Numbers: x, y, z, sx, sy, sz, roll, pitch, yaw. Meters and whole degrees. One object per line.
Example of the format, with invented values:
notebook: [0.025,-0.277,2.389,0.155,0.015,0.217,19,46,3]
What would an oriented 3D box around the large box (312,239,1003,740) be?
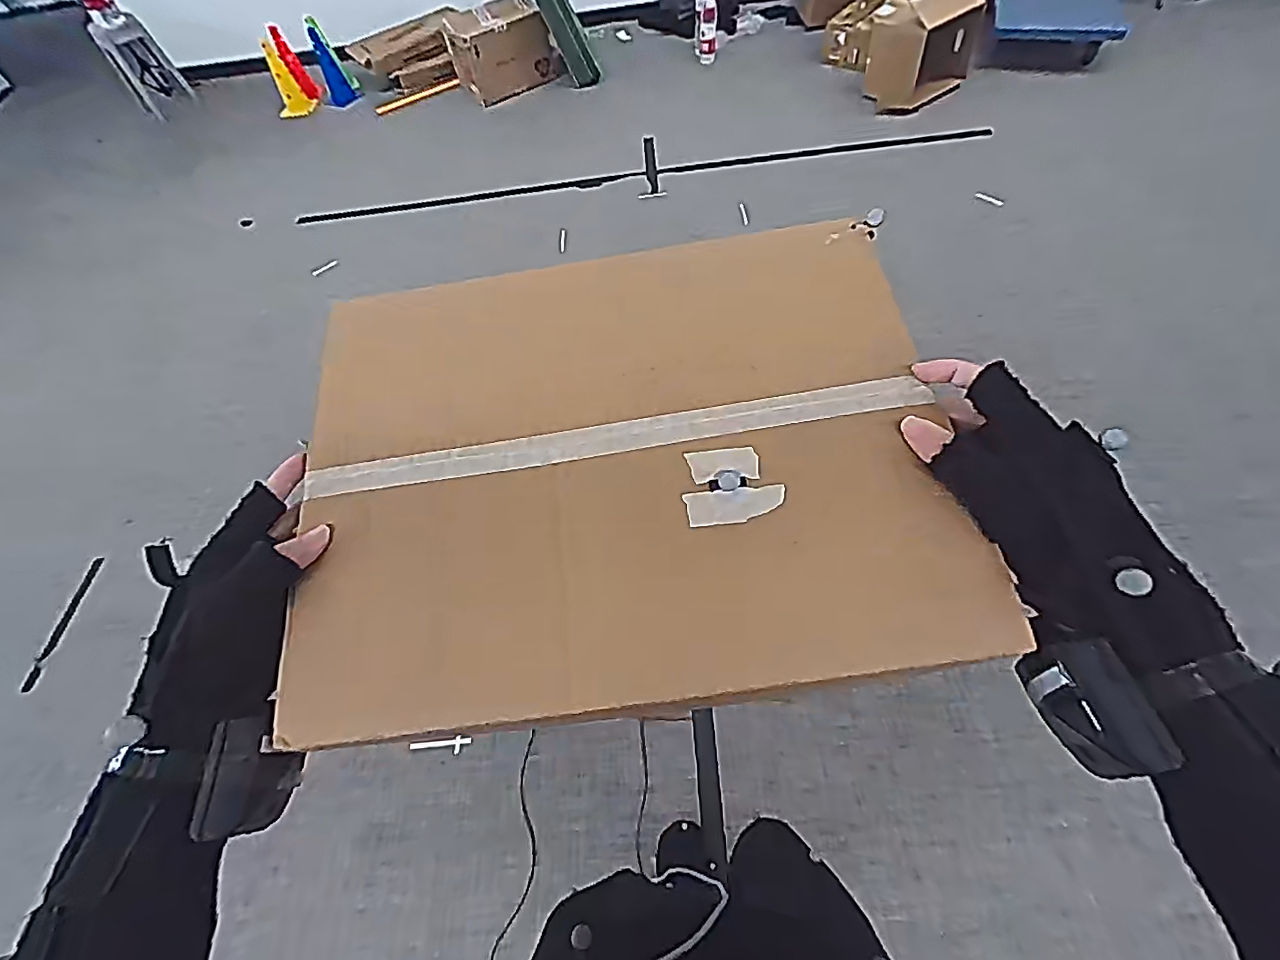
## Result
large box: [0.000,0.039,0.499,0.408,0.320,0.320,-8,66,2]
